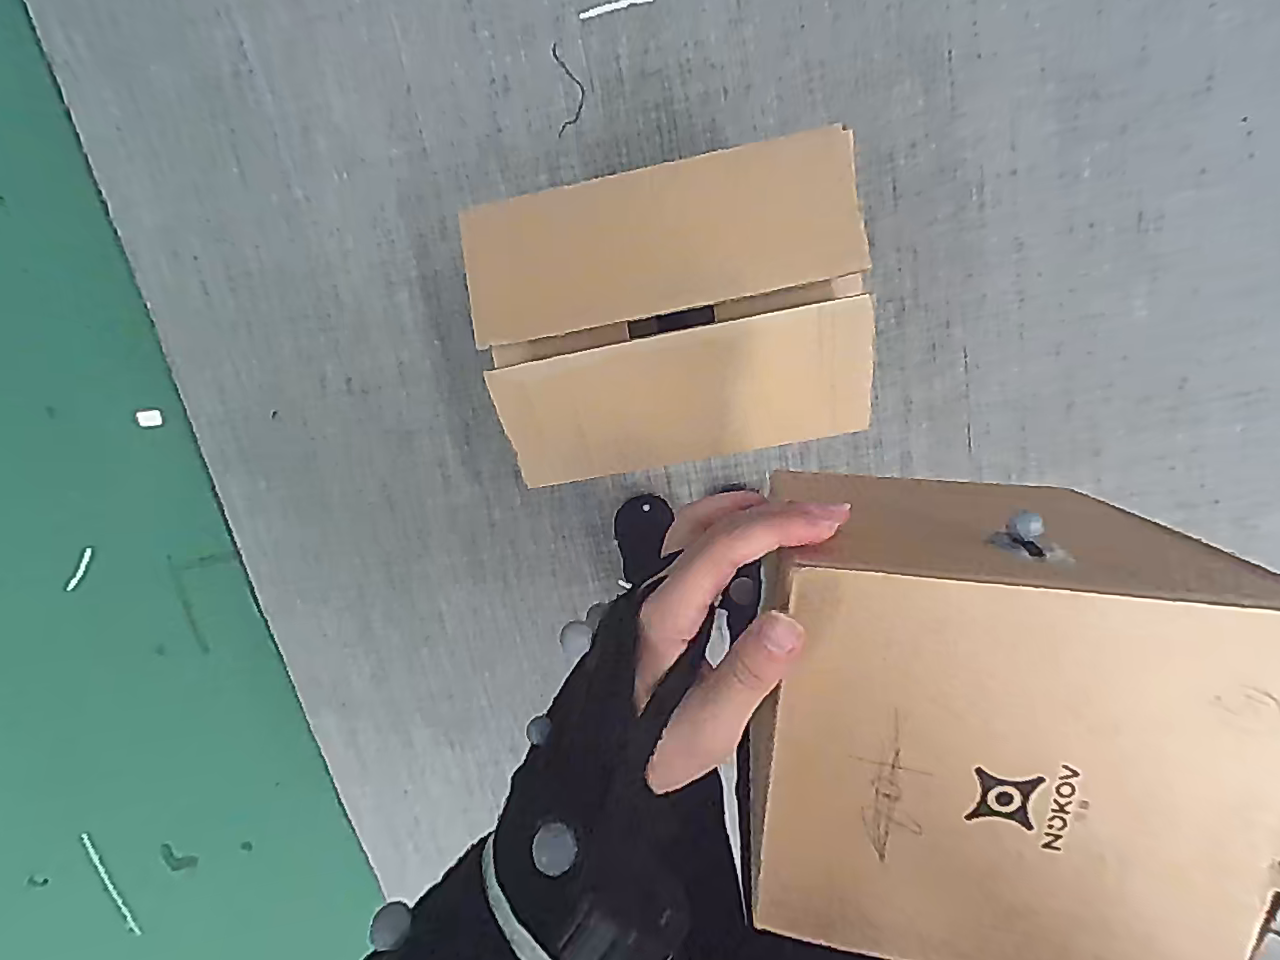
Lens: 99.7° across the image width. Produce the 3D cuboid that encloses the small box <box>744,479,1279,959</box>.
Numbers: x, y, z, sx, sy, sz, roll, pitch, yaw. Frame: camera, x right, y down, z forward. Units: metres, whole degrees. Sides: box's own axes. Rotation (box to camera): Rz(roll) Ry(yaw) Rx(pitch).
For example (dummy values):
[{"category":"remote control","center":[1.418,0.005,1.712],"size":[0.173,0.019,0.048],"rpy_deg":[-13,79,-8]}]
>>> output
[{"category":"small box","center":[0.148,0.097,0.279],"size":[0.179,0.176,0.168],"rpy_deg":[4,102,11]}]
